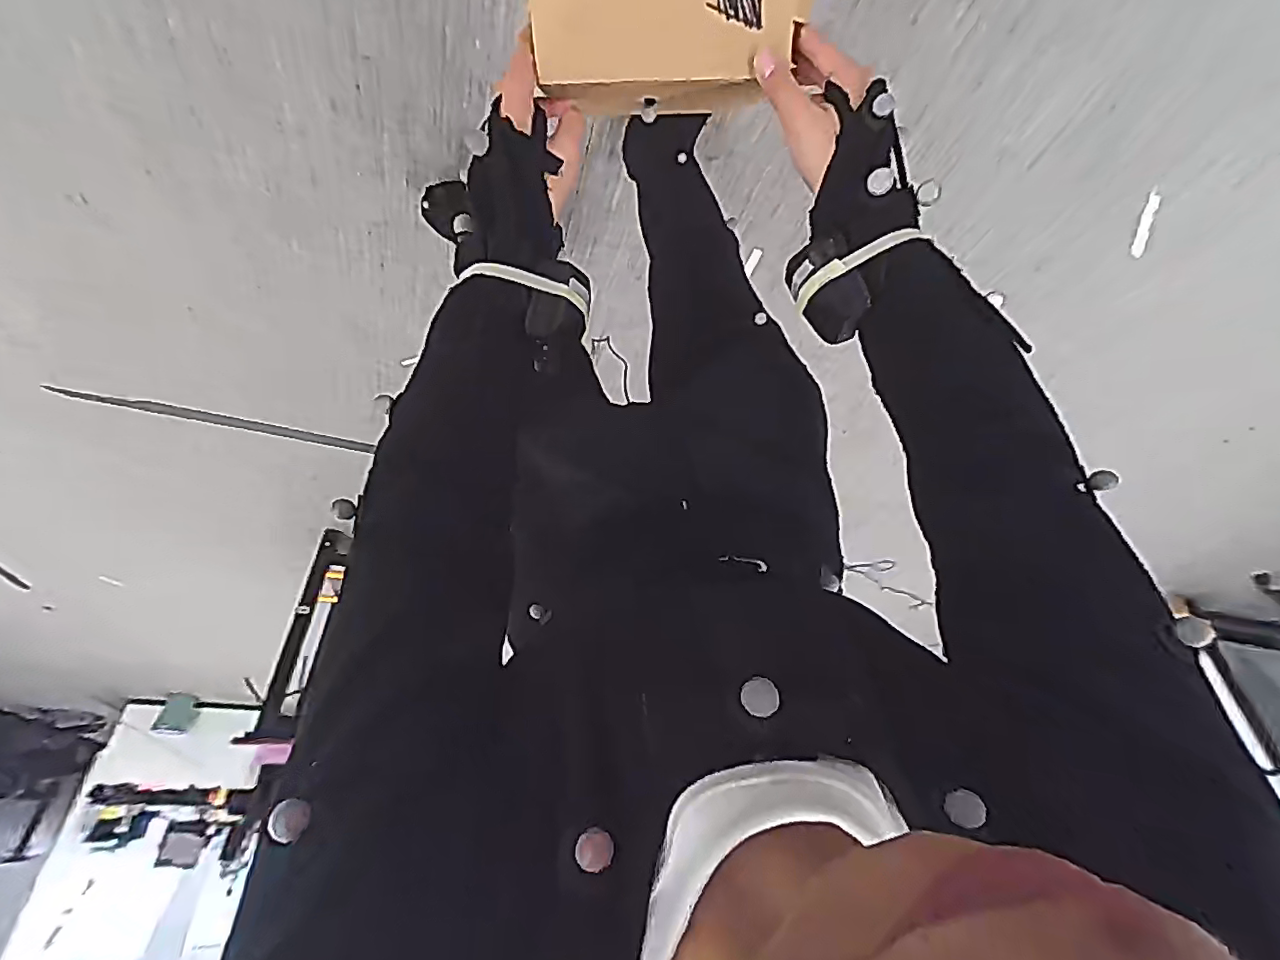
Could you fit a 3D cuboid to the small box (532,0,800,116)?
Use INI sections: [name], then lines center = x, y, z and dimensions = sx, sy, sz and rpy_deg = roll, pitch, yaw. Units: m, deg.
[small box]
center = 0.015, -0.379, 0.399
dimensions = 0.179, 0.176, 0.168
rpy_deg = -1, 118, 1
